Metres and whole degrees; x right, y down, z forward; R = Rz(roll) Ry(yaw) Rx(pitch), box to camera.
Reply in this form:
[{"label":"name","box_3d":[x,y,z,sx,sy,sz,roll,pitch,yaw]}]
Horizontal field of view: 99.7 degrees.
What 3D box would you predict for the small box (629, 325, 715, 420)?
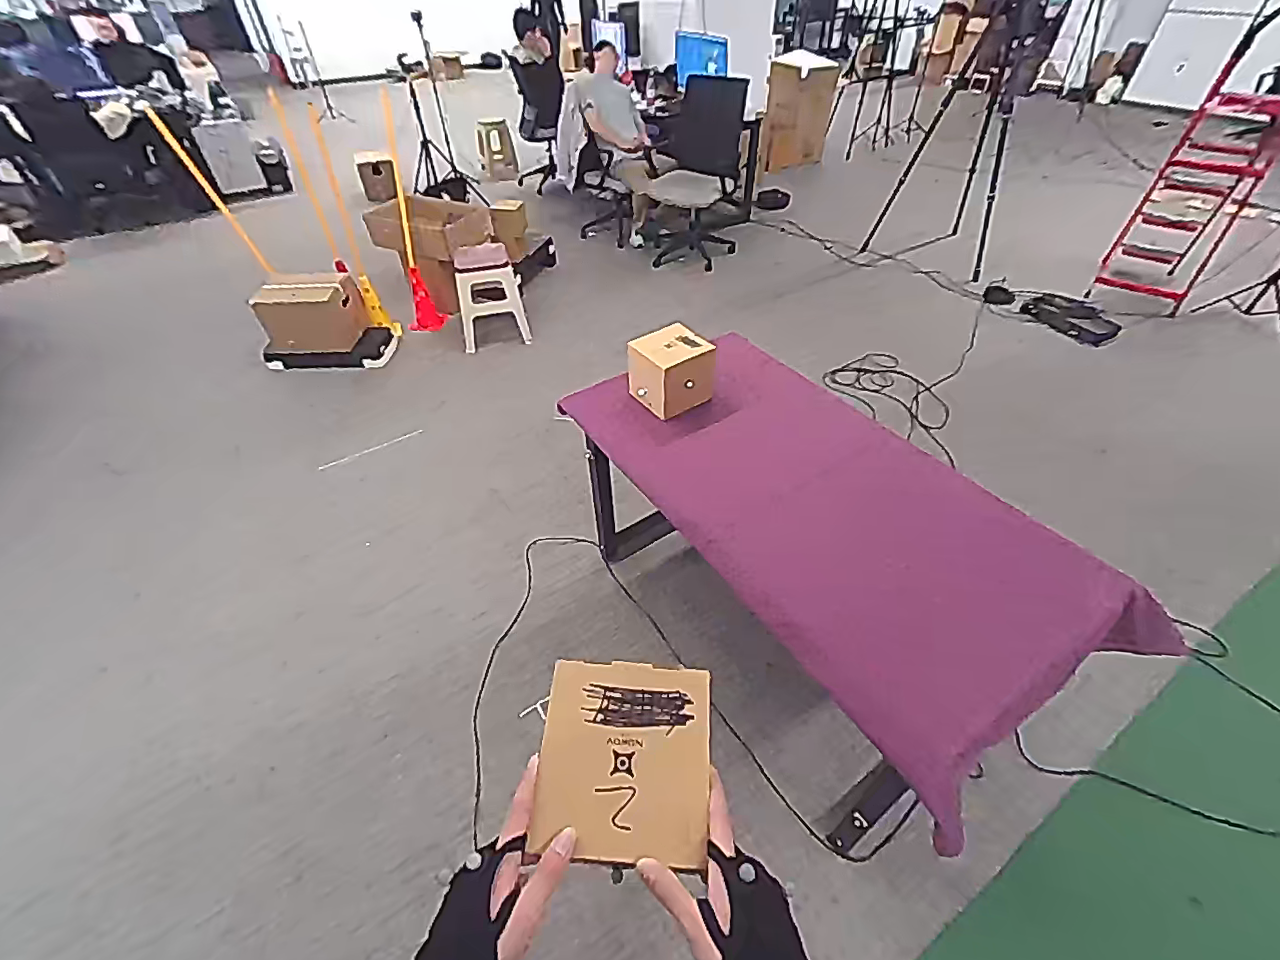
[{"label":"small box","box_3d":[0.083,-0.296,1.486,0.179,0.176,0.168,-27,50,-23]}]
